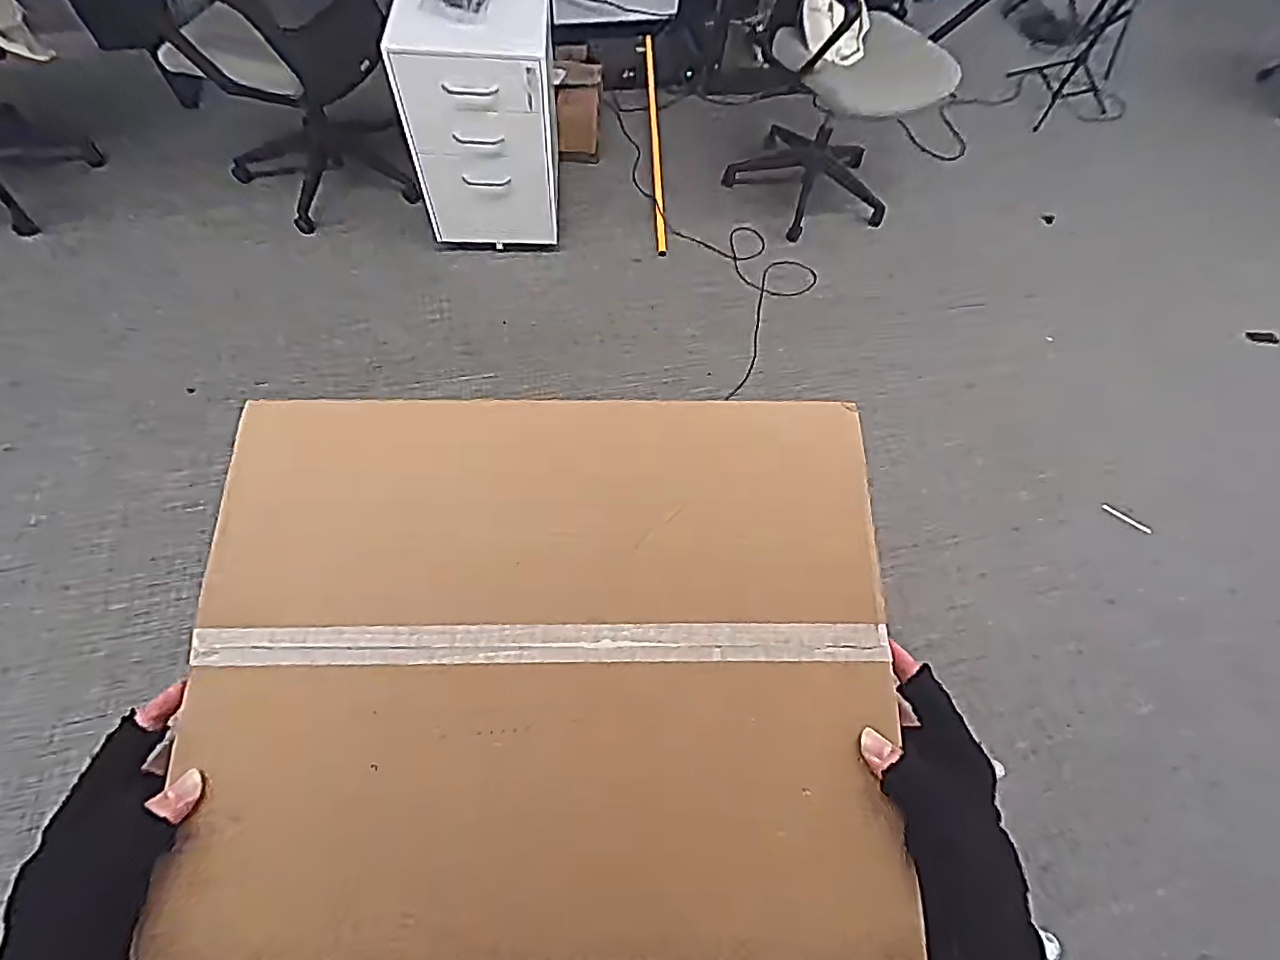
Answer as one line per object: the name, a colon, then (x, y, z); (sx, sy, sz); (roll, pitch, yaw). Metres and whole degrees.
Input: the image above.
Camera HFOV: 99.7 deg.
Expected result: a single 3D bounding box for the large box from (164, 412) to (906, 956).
large box: (-0.058, 0.144, 0.471); (0.408, 0.320, 0.320); (0, 74, 0)
